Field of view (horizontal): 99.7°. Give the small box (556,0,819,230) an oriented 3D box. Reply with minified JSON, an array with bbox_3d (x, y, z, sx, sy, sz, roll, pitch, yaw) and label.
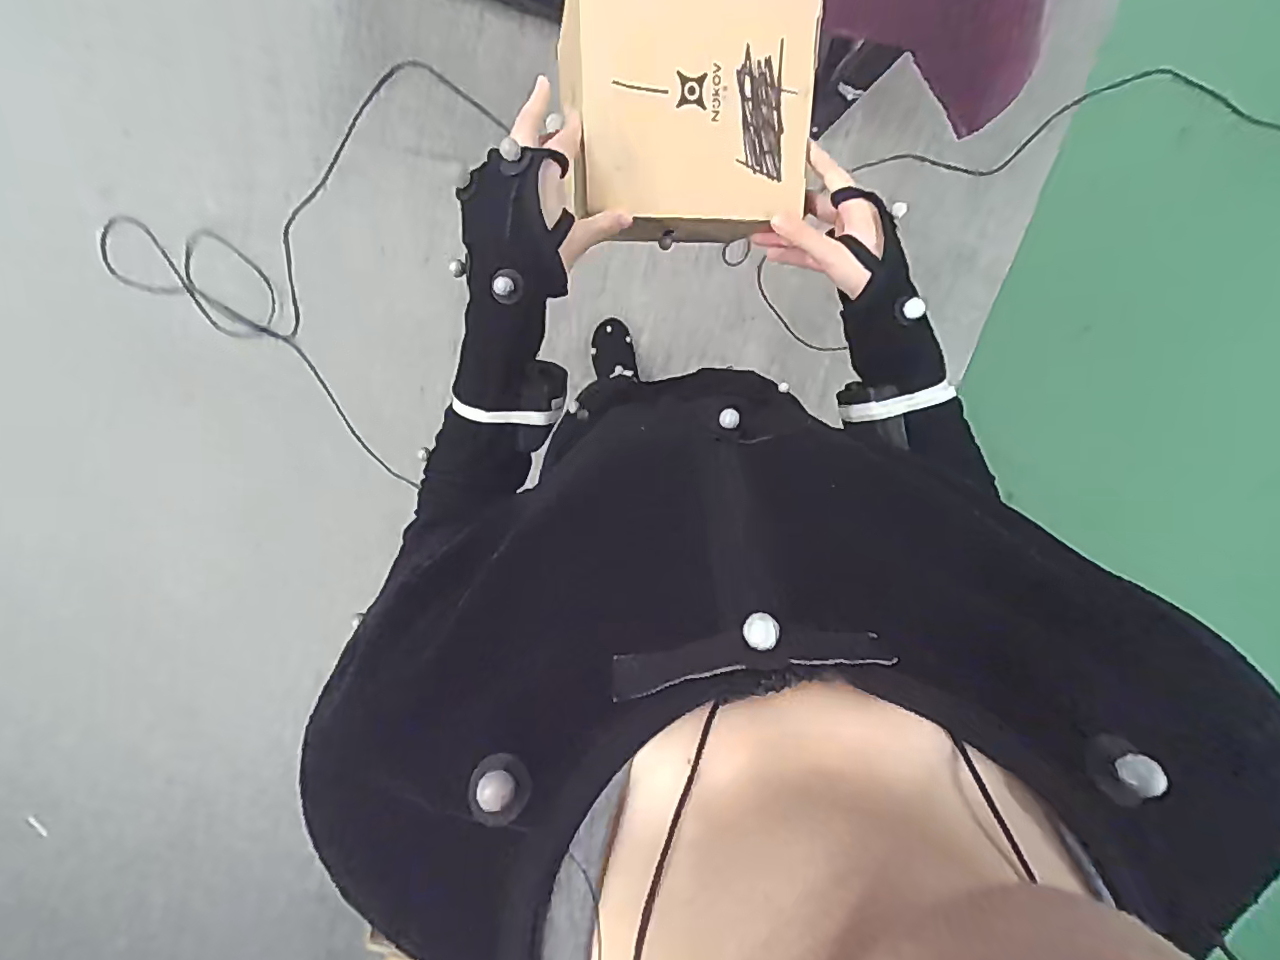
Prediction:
[{"bbox_3d":[0.025,-0.313,0.456,0.179,0.176,0.168,-3,108,-12],"label":"small box"}]
